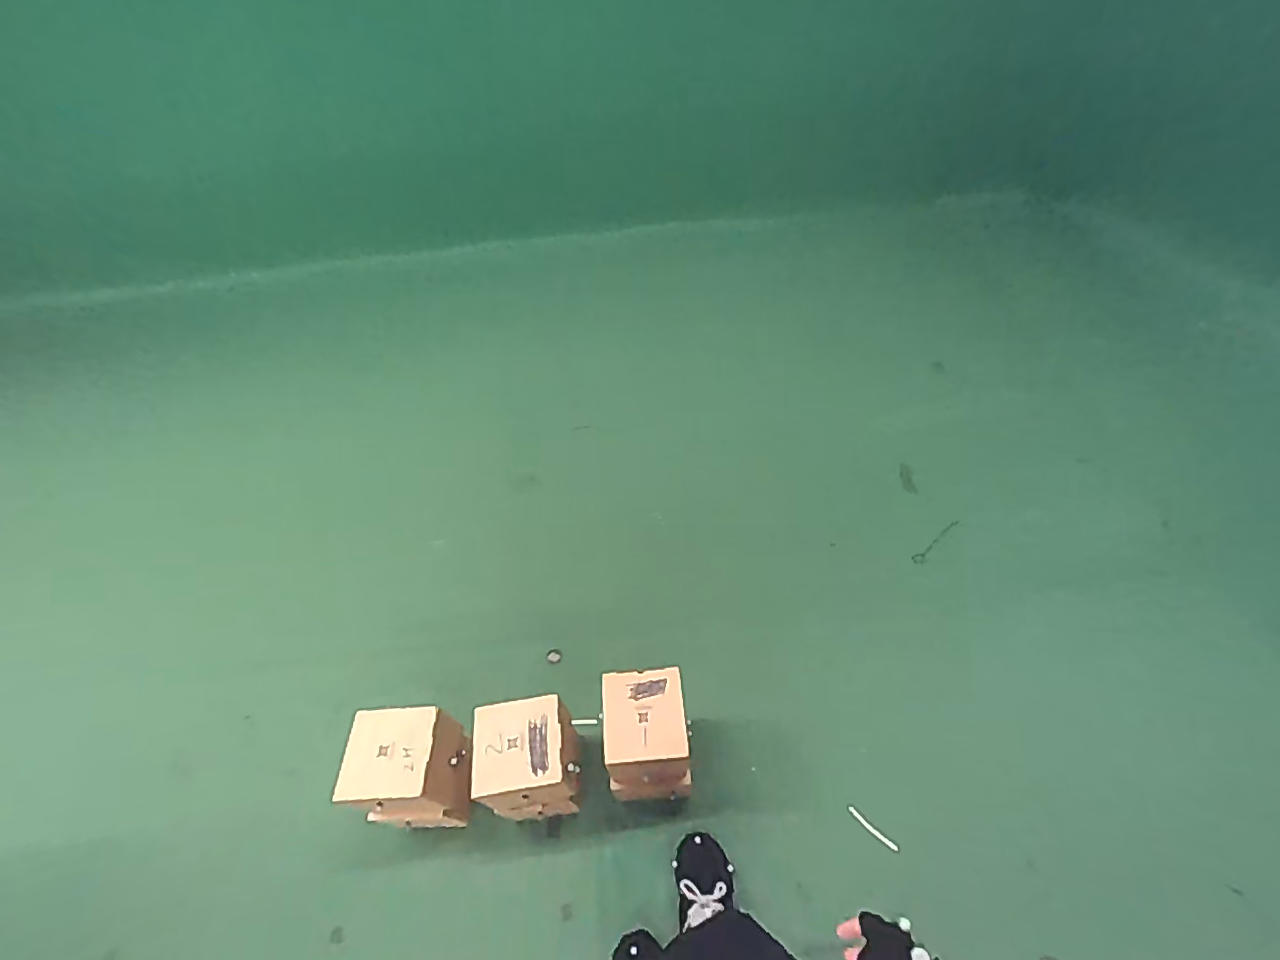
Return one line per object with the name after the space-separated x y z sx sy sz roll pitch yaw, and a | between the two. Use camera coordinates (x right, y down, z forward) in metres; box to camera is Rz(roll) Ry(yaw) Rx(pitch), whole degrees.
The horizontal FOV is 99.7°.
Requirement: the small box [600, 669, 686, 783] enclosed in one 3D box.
0.005 0.522 1.144 0.168 0.176 0.179 -5 51 0 | small box

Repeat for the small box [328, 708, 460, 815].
-0.500 0.589 1.126 0.179 0.176 0.168 -4 51 2 | small box

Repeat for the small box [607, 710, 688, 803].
0.016 0.642 1.255 0.179 0.176 0.168 -4 51 1 | small box

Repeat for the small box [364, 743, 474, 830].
-0.497 0.701 1.248 0.168 0.176 0.179 -3 51 2 | small box
